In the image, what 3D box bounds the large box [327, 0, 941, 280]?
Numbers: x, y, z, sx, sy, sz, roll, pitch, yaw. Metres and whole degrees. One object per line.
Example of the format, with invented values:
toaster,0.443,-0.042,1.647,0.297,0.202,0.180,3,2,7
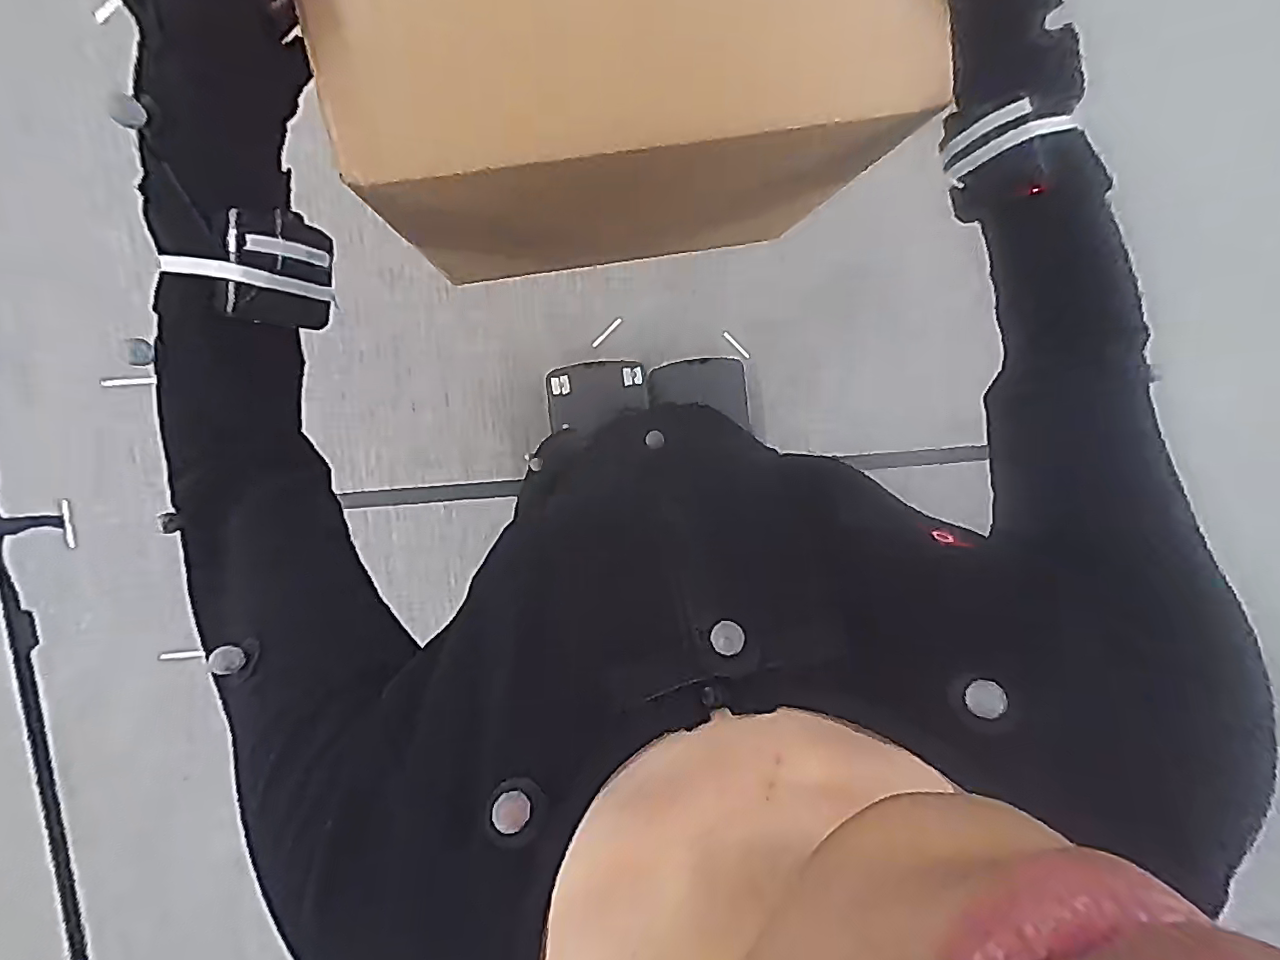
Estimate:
large box,-0.027,-0.398,0.483,0.408,0.320,0.320,-11,100,-6
